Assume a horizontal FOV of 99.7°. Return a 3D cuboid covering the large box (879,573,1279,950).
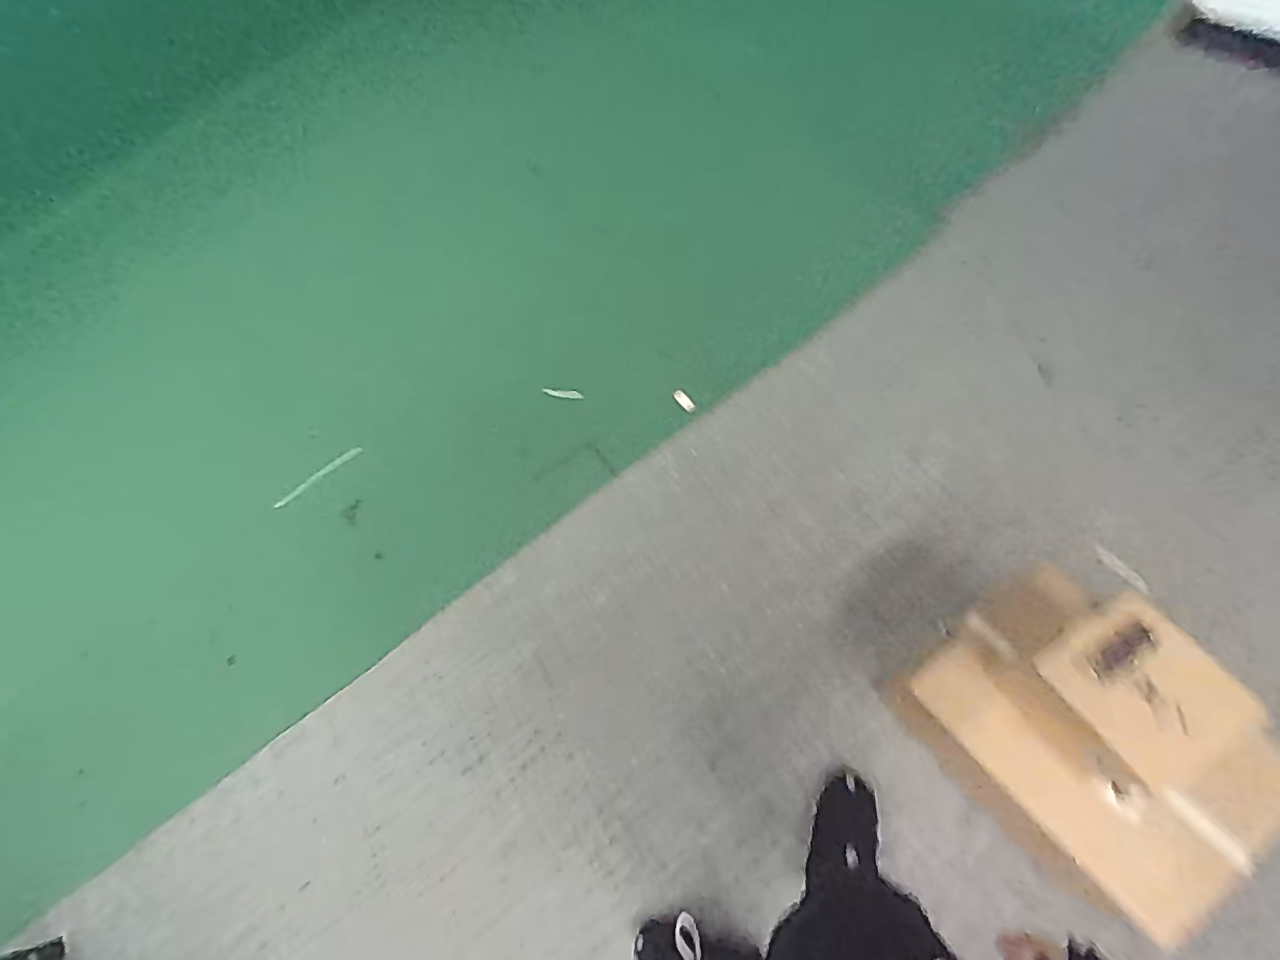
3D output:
[{"bbox_3d":[0.694,0.432,0.919,0.320,0.320,0.408,-39,64,-4],"label":"large box"}]
